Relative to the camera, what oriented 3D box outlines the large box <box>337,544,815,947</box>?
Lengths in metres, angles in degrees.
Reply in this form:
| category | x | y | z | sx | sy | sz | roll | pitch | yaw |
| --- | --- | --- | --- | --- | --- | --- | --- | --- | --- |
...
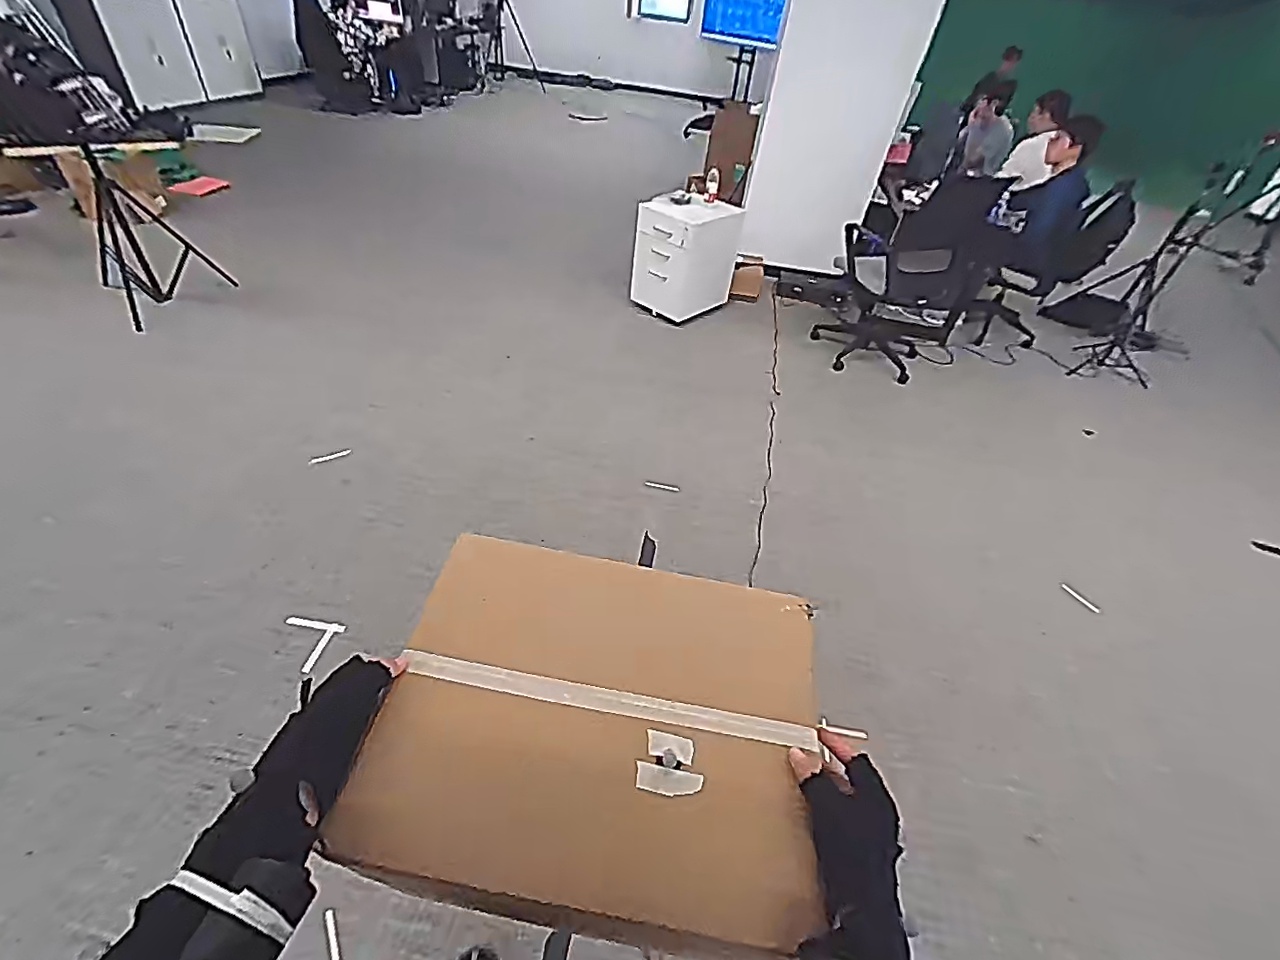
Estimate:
| category | x | y | z | sx | sy | sz | roll | pitch | yaw |
| --- | --- | --- | --- | --- | --- | --- | --- | --- | --- |
| large box | -0.050 | 0.316 | 0.643 | 0.408 | 0.320 | 0.320 | 11 | 48 | 2 |
